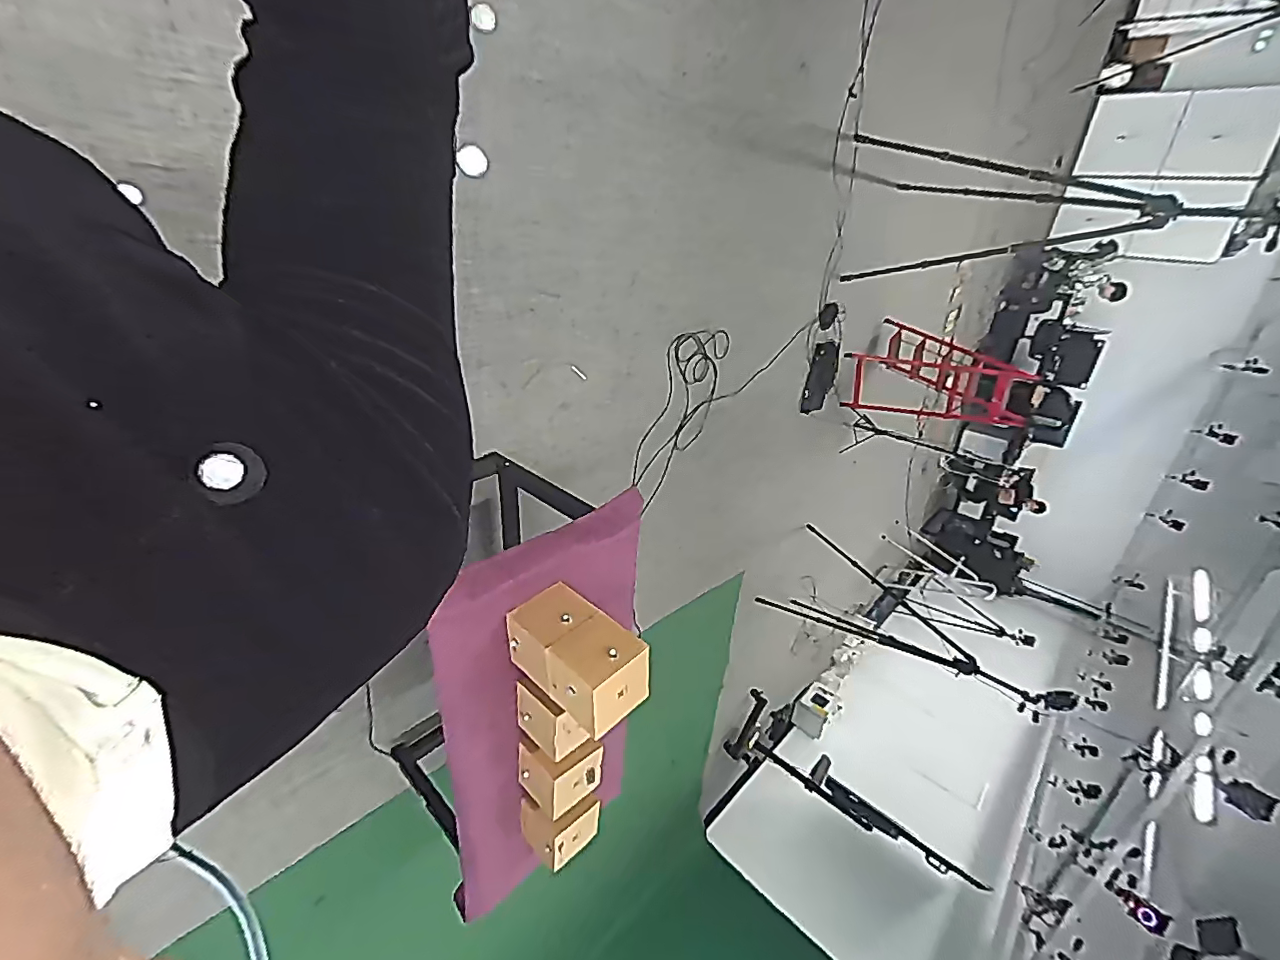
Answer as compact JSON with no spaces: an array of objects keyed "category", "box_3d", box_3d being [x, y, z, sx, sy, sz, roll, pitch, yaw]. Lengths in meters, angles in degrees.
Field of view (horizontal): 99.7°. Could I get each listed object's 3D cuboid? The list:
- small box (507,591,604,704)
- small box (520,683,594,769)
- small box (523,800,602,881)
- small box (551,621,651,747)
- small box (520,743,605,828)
[{"category":"small box","box_3d":[-0.207,0.409,1.354,0.179,0.176,0.168,-26,127,-39]},{"category":"small box","box_3d":[-0.207,0.629,1.472,0.179,0.176,0.168,-20,124,-42]},{"category":"small box","box_3d":[-0.240,1.065,1.671,0.179,0.176,0.168,-20,123,-44]},{"category":"small box","box_3d":[-0.093,0.464,1.252,0.179,0.176,0.168,-27,127,-40]},{"category":"small box","box_3d":[-0.226,0.843,1.568,0.179,0.176,0.168,-18,122,-43]}]
